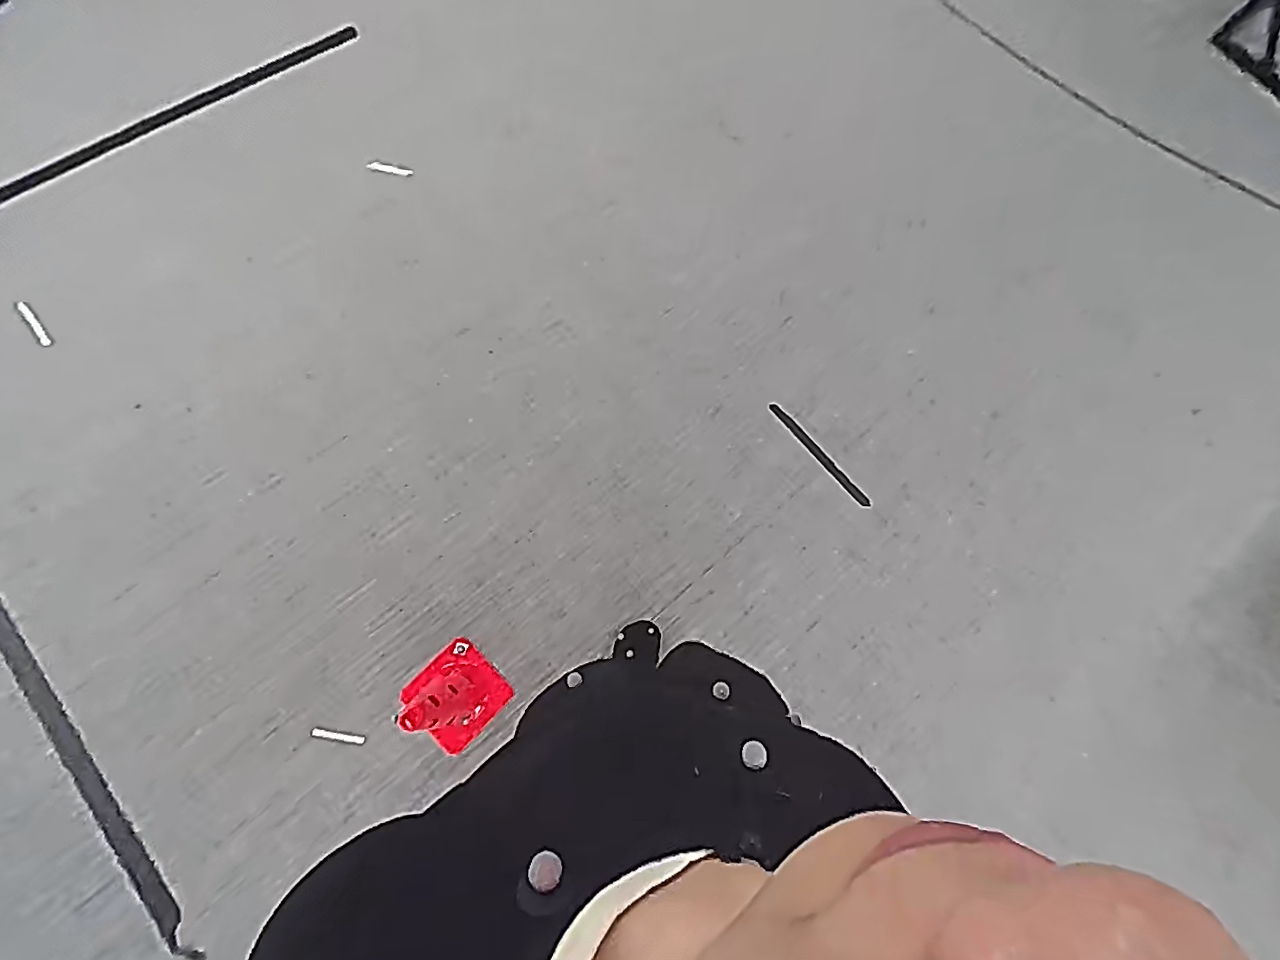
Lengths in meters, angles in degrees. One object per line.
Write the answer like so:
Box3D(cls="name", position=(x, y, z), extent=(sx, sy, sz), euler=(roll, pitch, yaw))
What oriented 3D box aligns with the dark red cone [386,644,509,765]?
Box3D(cls="dark red cone", position=(-0.415, 0.470, 1.077), extent=(0.202, 0.394, 0.201), euler=(43, 77, 6))
